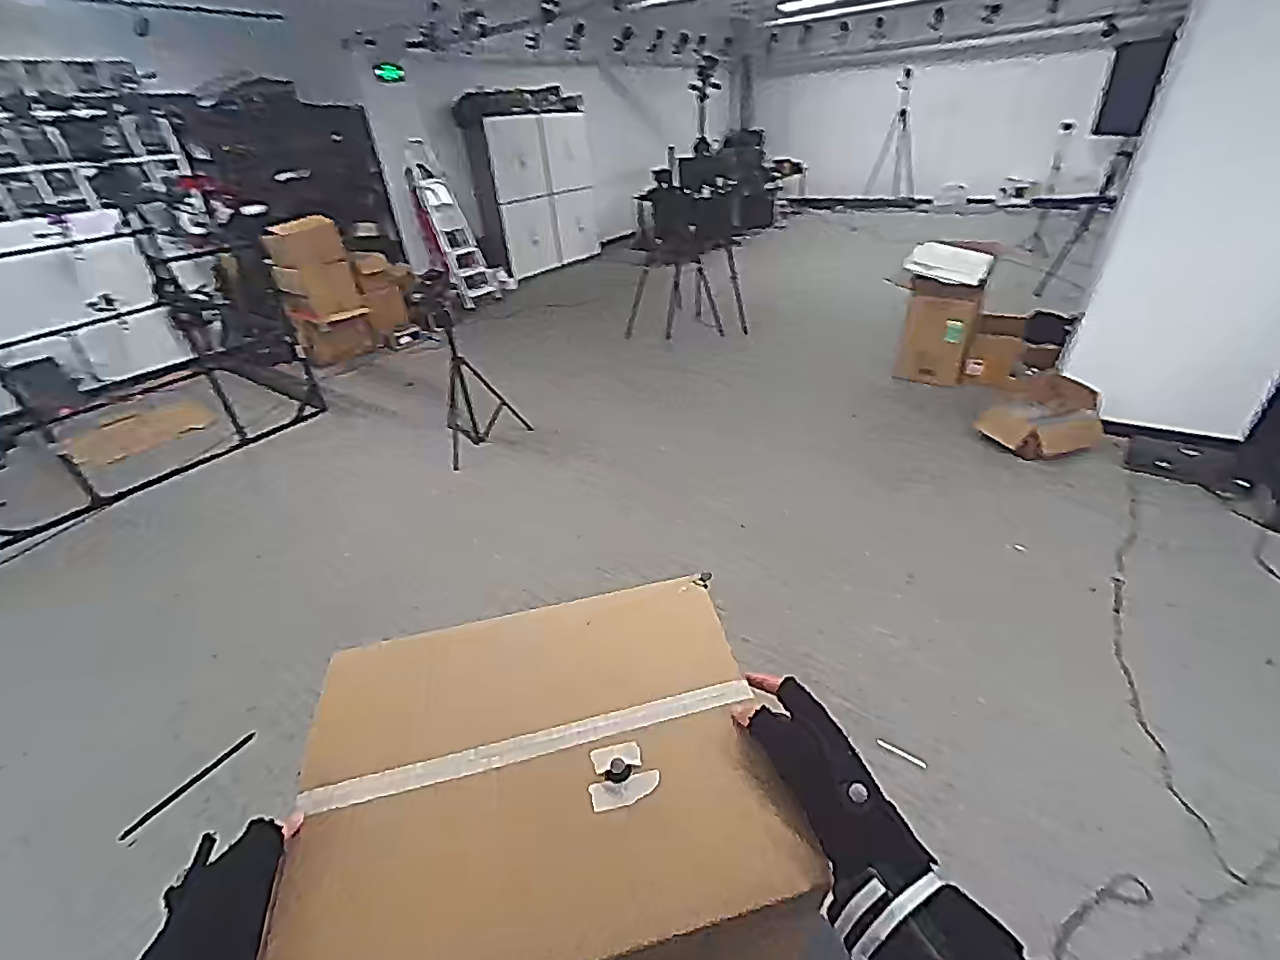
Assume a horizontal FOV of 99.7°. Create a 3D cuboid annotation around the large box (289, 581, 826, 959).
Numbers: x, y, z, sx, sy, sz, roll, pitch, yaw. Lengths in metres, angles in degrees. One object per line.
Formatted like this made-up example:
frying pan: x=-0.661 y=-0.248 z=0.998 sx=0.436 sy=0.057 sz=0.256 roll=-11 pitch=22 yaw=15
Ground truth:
large box: x=-0.075 y=0.361 z=0.587 sx=0.408 sy=0.320 sz=0.320 roll=-10 pitch=38 yaw=-9
